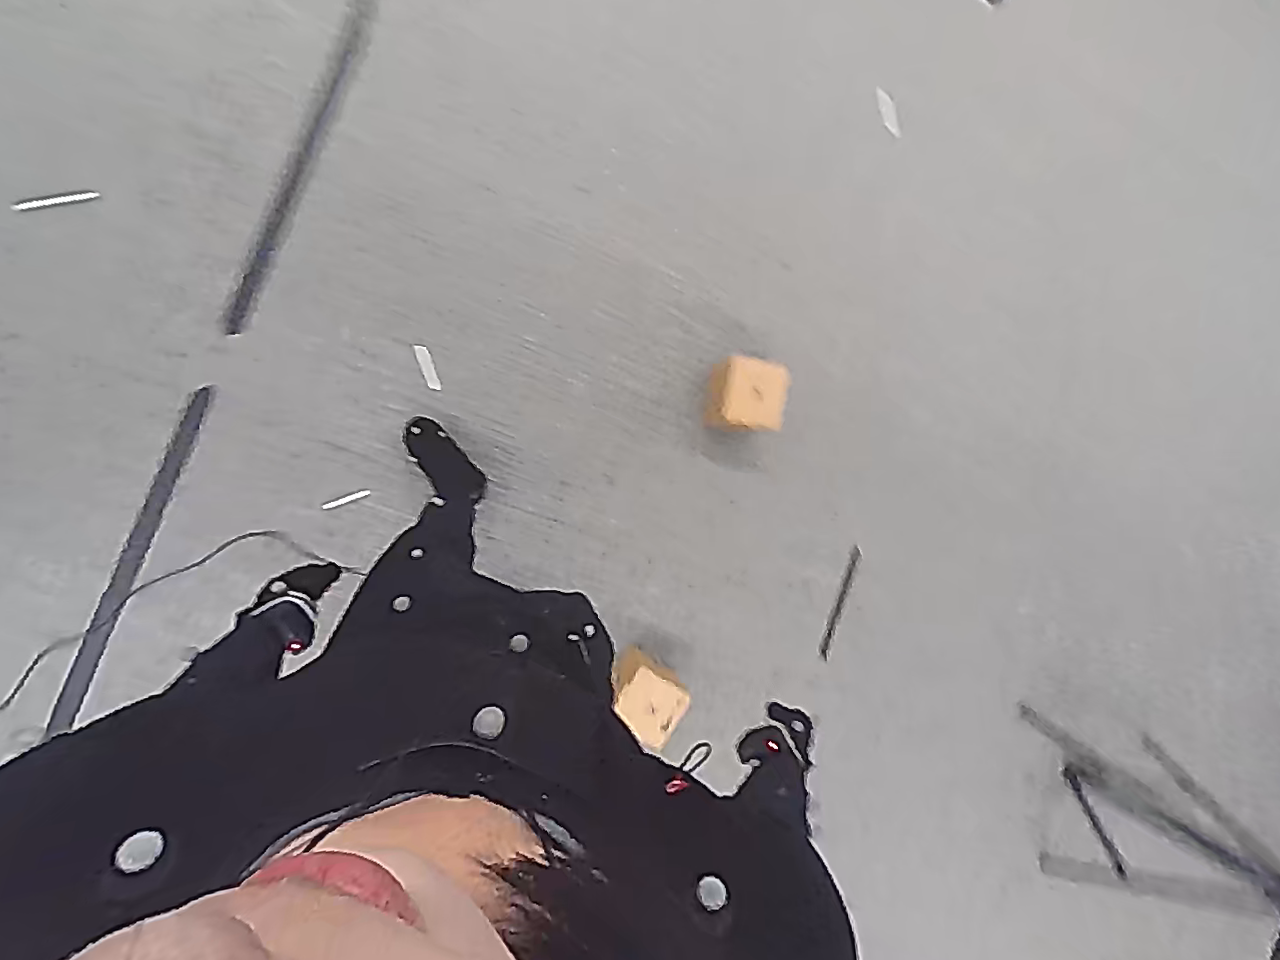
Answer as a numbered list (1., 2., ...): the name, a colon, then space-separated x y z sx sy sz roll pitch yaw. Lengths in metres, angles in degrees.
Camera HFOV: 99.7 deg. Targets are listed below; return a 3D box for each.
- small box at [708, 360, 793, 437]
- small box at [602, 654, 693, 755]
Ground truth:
1. small box: 0.303 -0.220 1.520 0.168 0.176 0.179 9 89 -14
2. small box: 0.012 0.605 1.486 0.179 0.176 0.168 36 85 -10
